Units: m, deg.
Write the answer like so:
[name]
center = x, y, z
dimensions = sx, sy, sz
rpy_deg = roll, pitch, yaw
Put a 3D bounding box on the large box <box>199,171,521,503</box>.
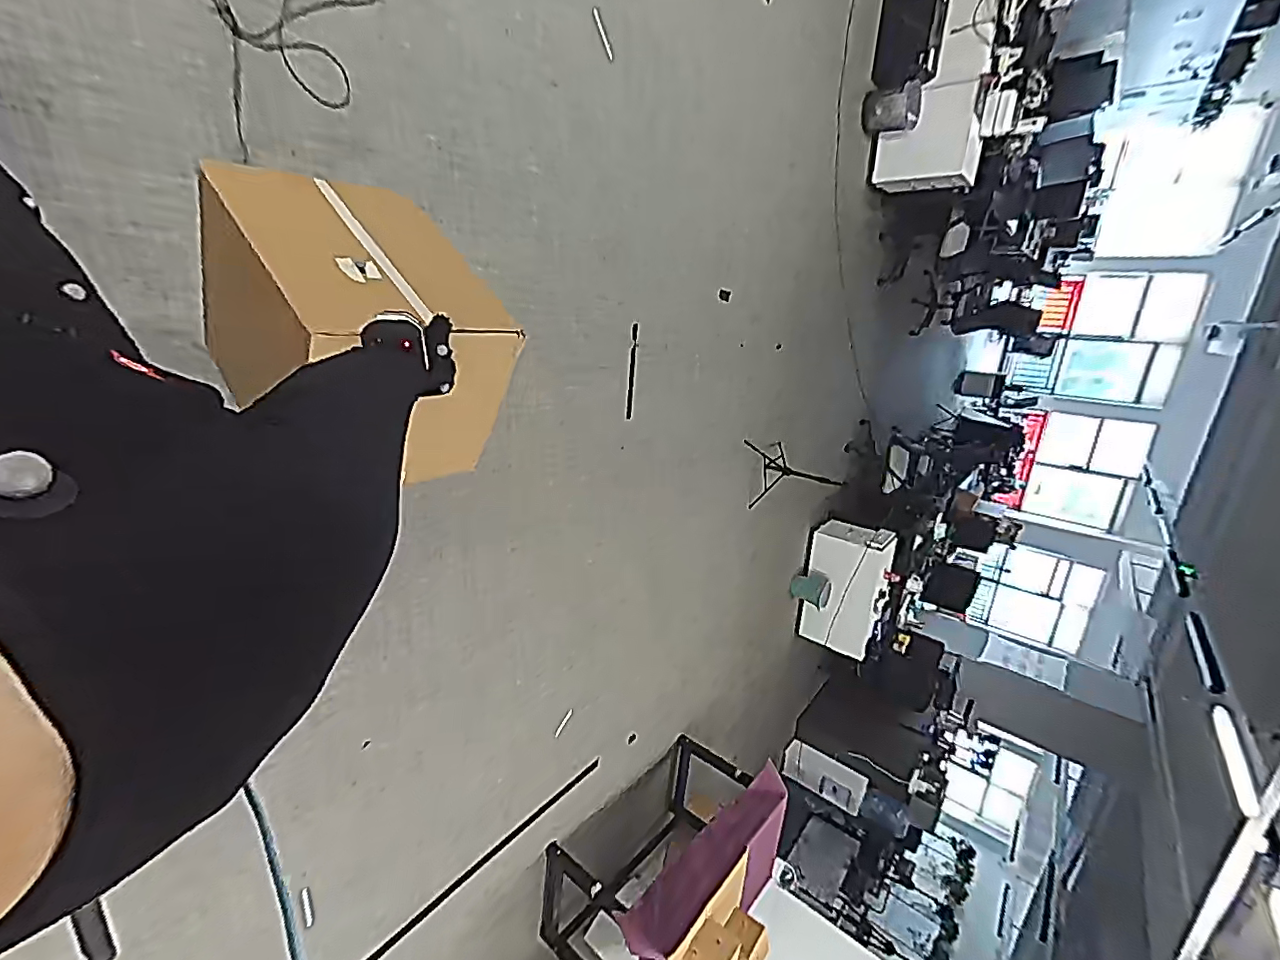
[large box]
center = -0.479, -0.232, 0.904
dimensions = 0.320, 0.408, 0.320
rpy_deg = -19, 151, -48
